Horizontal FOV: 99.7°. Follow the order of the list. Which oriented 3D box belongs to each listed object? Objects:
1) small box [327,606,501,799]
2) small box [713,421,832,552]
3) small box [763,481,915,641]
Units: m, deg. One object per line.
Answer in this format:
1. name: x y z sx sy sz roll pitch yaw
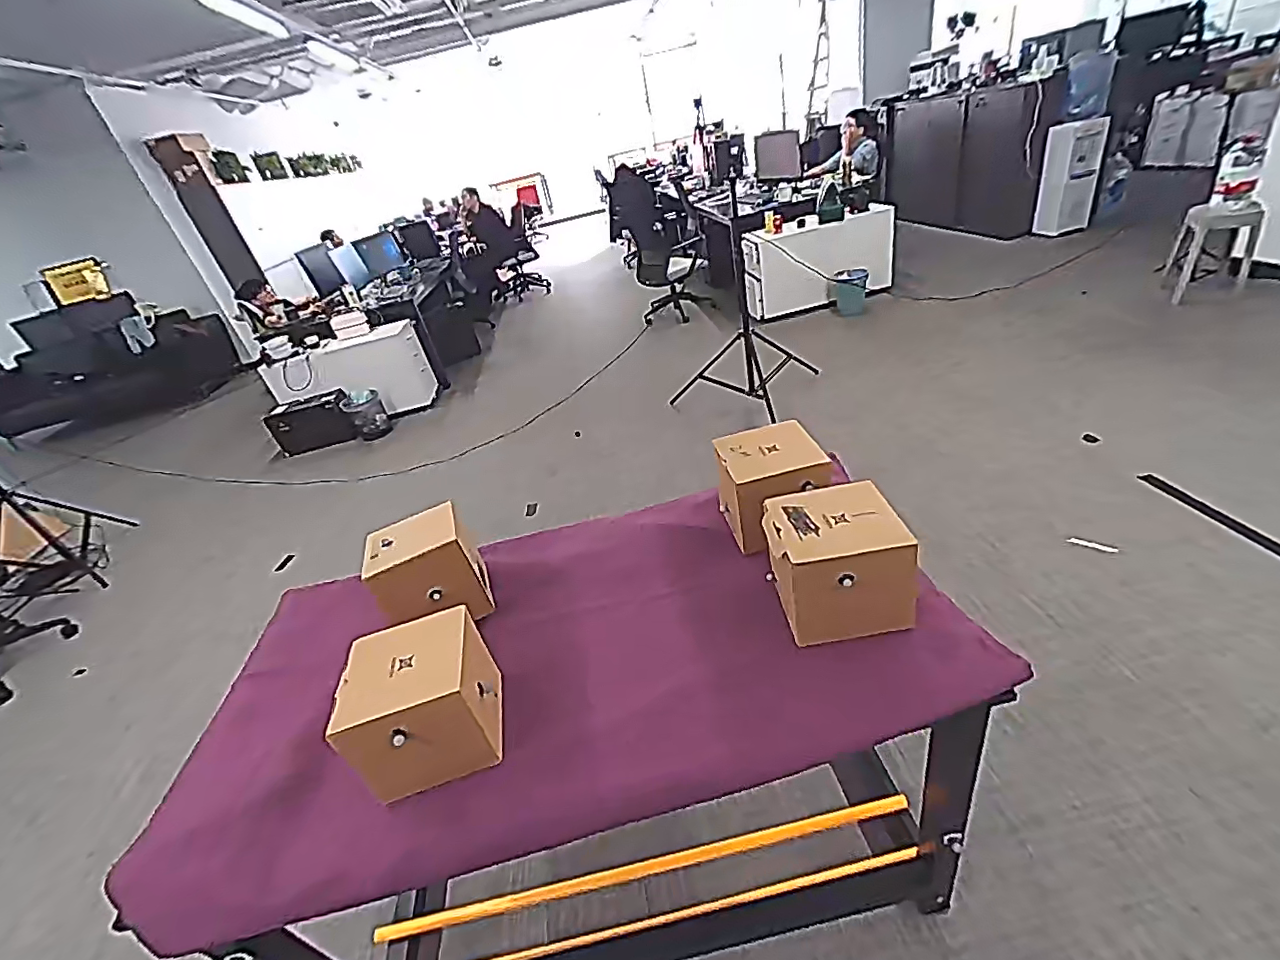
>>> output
1. small box: -0.310 0.322 0.789 0.179 0.176 0.168 -18 32 -5
2. small box: 0.251 0.012 1.041 0.179 0.176 0.168 -14 33 -1
3. small box: 0.304 0.128 0.842 0.179 0.176 0.168 -11 31 4
